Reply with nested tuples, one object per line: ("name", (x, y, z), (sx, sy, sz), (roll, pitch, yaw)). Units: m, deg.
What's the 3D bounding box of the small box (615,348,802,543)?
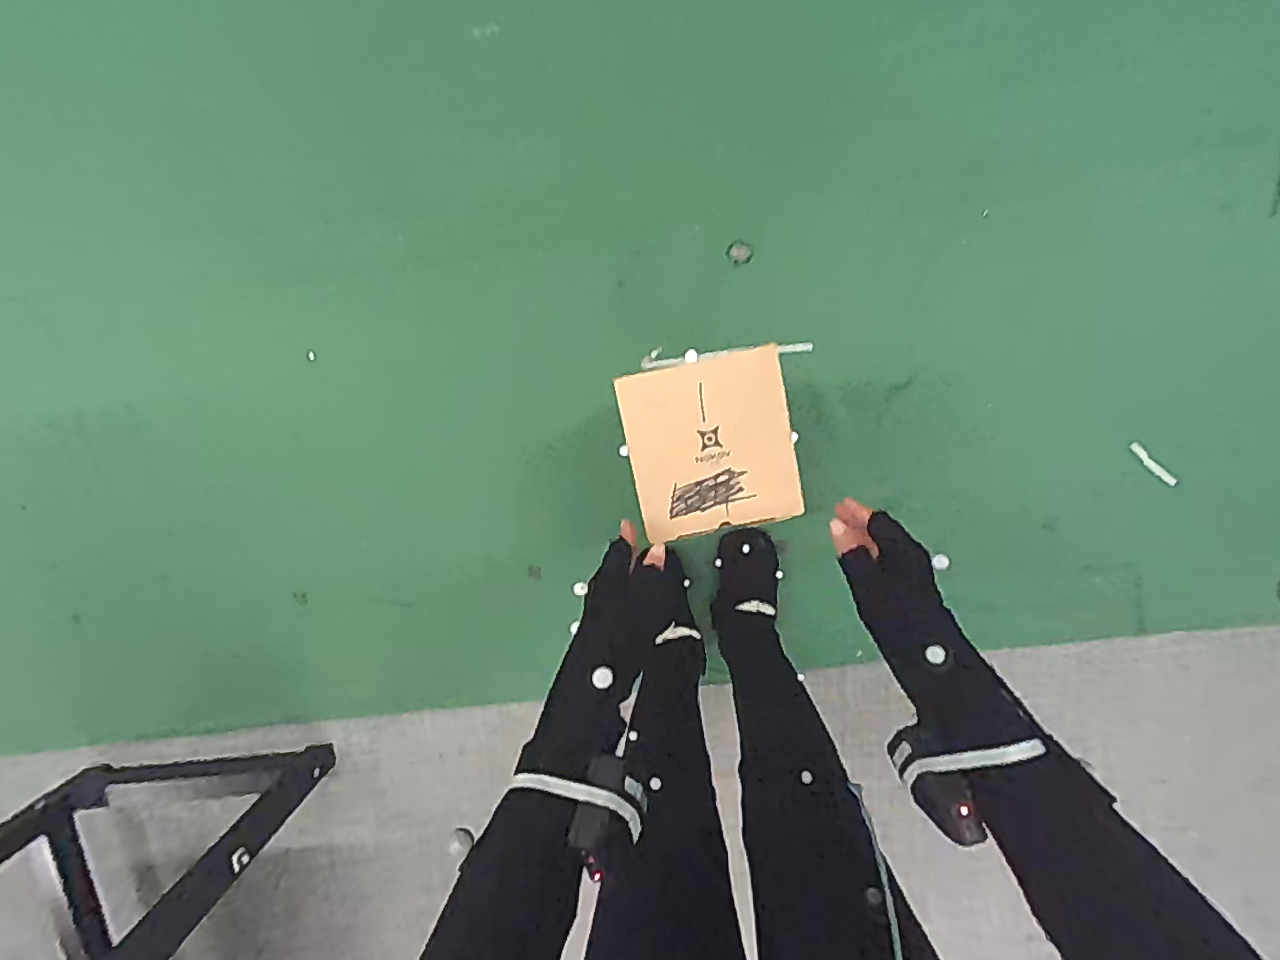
("small box", (0.075, -0.044, 0.627), (0.168, 0.176, 0.179), (-12, 97, 4))
